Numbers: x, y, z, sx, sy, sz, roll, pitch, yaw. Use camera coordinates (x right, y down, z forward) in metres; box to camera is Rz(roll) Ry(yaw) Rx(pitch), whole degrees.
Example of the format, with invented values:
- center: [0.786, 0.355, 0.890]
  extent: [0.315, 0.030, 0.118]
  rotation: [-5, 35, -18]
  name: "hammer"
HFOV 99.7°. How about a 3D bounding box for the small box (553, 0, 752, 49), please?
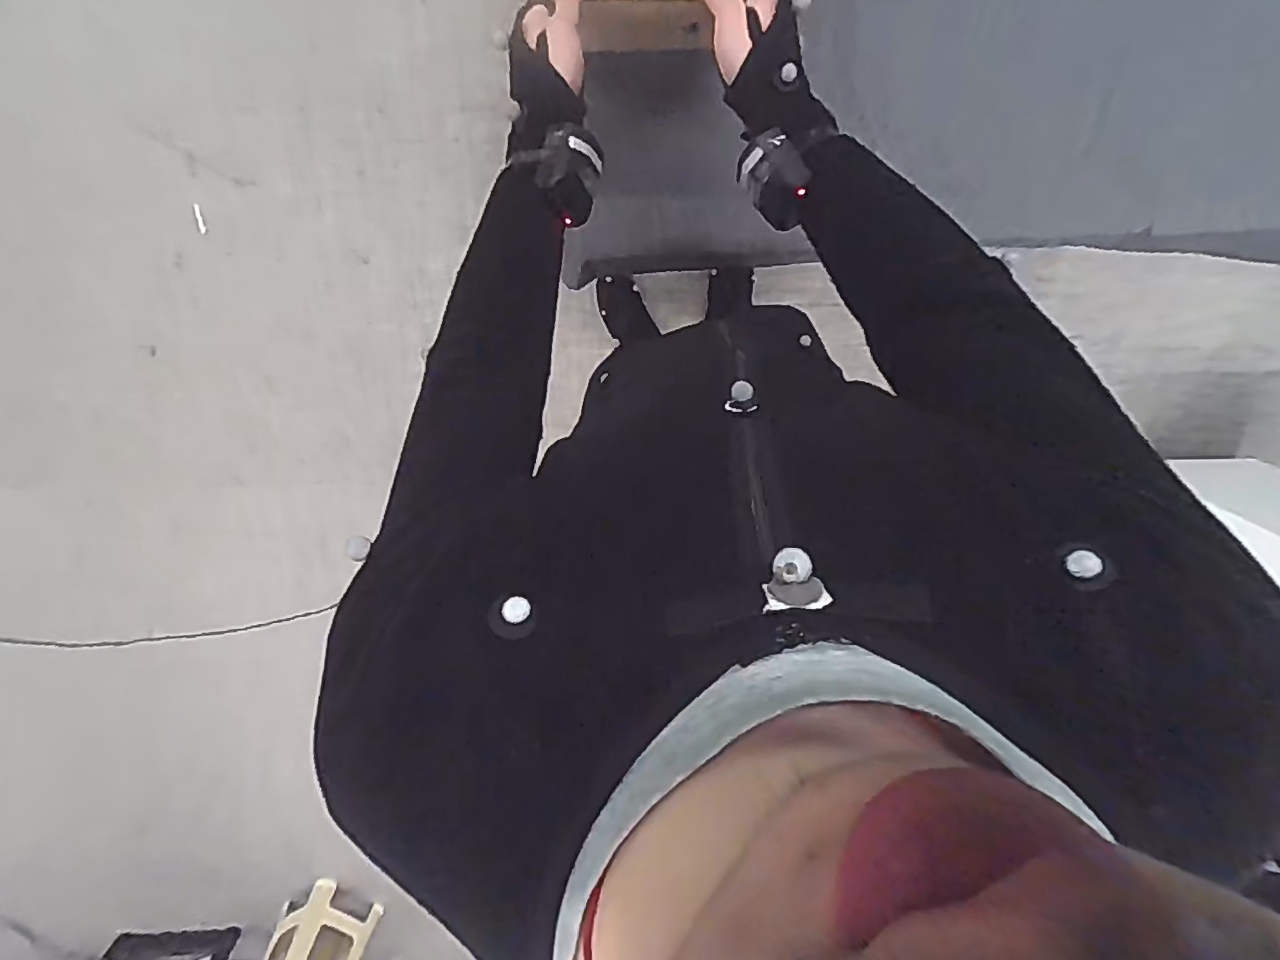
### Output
- center: [0.010, -0.509, 0.480]
  extent: [0.179, 0.176, 0.168]
  rotation: [0, 115, 0]
  name: "small box"
